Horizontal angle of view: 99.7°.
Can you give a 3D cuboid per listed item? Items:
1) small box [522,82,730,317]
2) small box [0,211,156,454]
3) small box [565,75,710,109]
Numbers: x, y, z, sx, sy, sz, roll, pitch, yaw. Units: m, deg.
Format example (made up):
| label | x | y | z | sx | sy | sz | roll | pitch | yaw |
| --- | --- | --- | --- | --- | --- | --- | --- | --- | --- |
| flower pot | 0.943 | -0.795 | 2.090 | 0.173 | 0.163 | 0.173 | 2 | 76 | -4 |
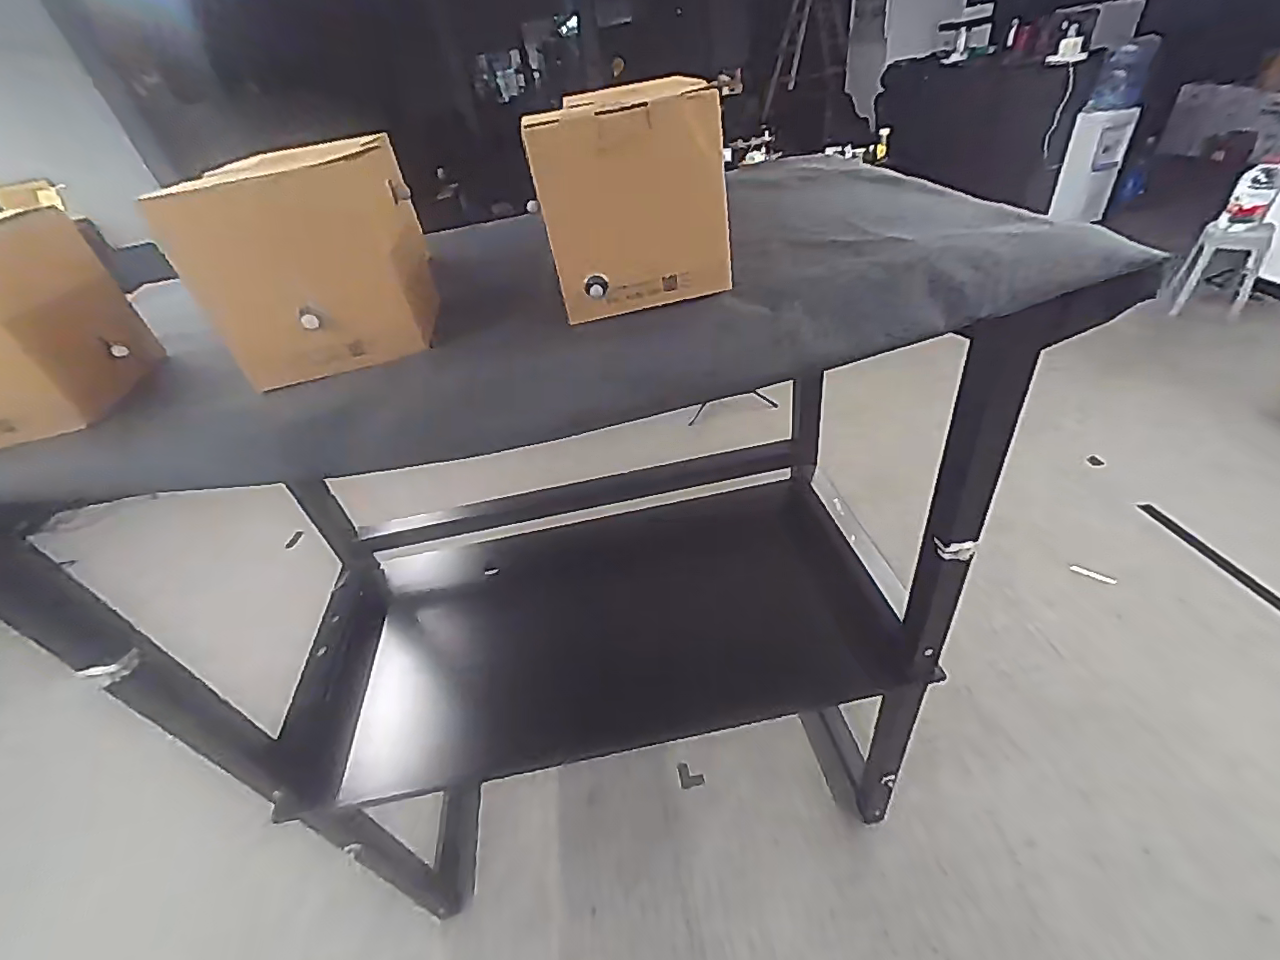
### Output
| label | x | y | z | sx | sy | sz | roll | pitch | yaw |
| --- | --- | --- | --- | --- | --- | --- | --- | --- | --- |
| small box | -0.013 | -0.276 | 0.540 | 0.168 | 0.176 | 0.179 | -13 | 37 | -2 |
| small box | -0.618 | -0.133 | 0.507 | 0.168 | 0.176 | 0.179 | -16 | 39 | -7 |
| small box | -0.001 | -0.420 | 0.719 | 0.168 | 0.176 | 0.179 | -12 | 40 | -1 |
